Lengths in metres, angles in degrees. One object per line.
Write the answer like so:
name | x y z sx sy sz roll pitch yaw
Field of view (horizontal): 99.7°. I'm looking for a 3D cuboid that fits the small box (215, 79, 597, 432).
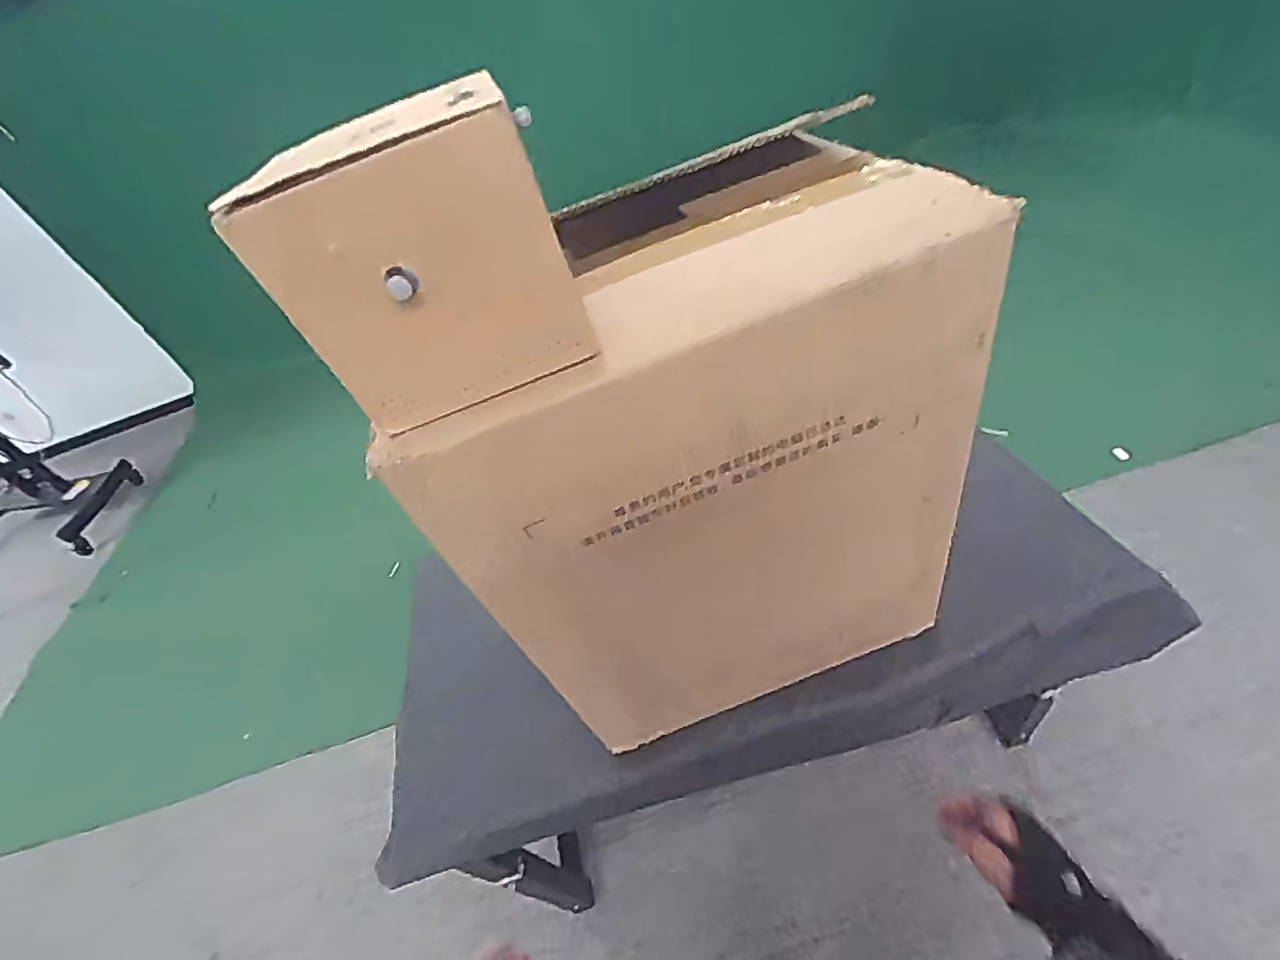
small box | -0.153 -0.165 0.409 0.179 0.176 0.168 -23 44 1
